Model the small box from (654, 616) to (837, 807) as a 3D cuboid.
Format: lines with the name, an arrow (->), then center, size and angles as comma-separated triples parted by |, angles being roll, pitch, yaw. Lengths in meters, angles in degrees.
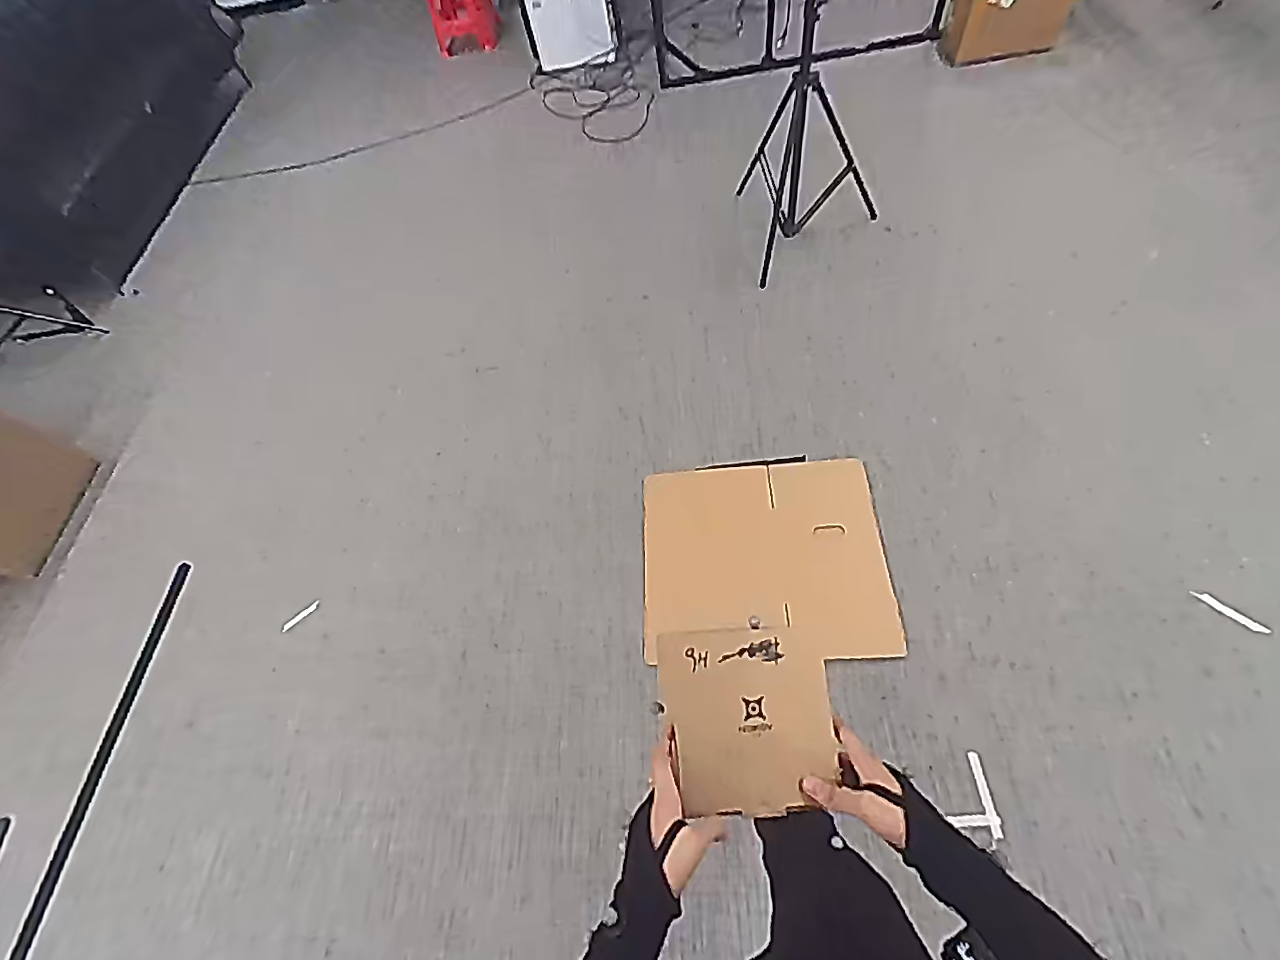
small box -> 0.108, 0.252, 0.629 | 0.168, 0.176, 0.179 | -2, 76, -5
